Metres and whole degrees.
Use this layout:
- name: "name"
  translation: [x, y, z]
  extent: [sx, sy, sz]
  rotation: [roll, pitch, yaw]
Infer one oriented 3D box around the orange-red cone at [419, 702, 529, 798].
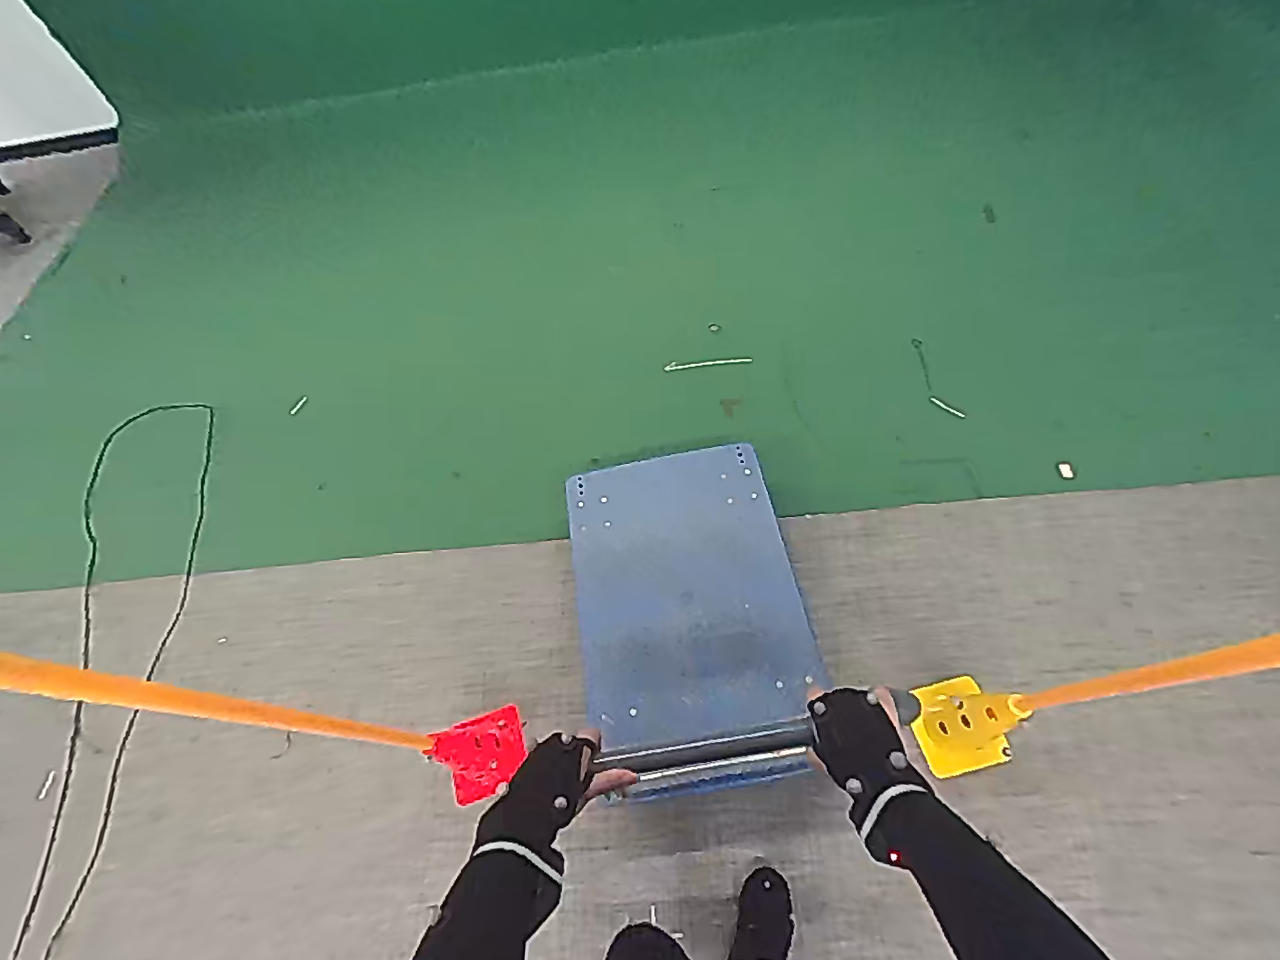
- name: "orange-red cone"
  translation: [-0.422, 0.627, 1.278]
  extent: [0.199, 0.360, 0.198]
  rotation: [-19, 60, -2]
